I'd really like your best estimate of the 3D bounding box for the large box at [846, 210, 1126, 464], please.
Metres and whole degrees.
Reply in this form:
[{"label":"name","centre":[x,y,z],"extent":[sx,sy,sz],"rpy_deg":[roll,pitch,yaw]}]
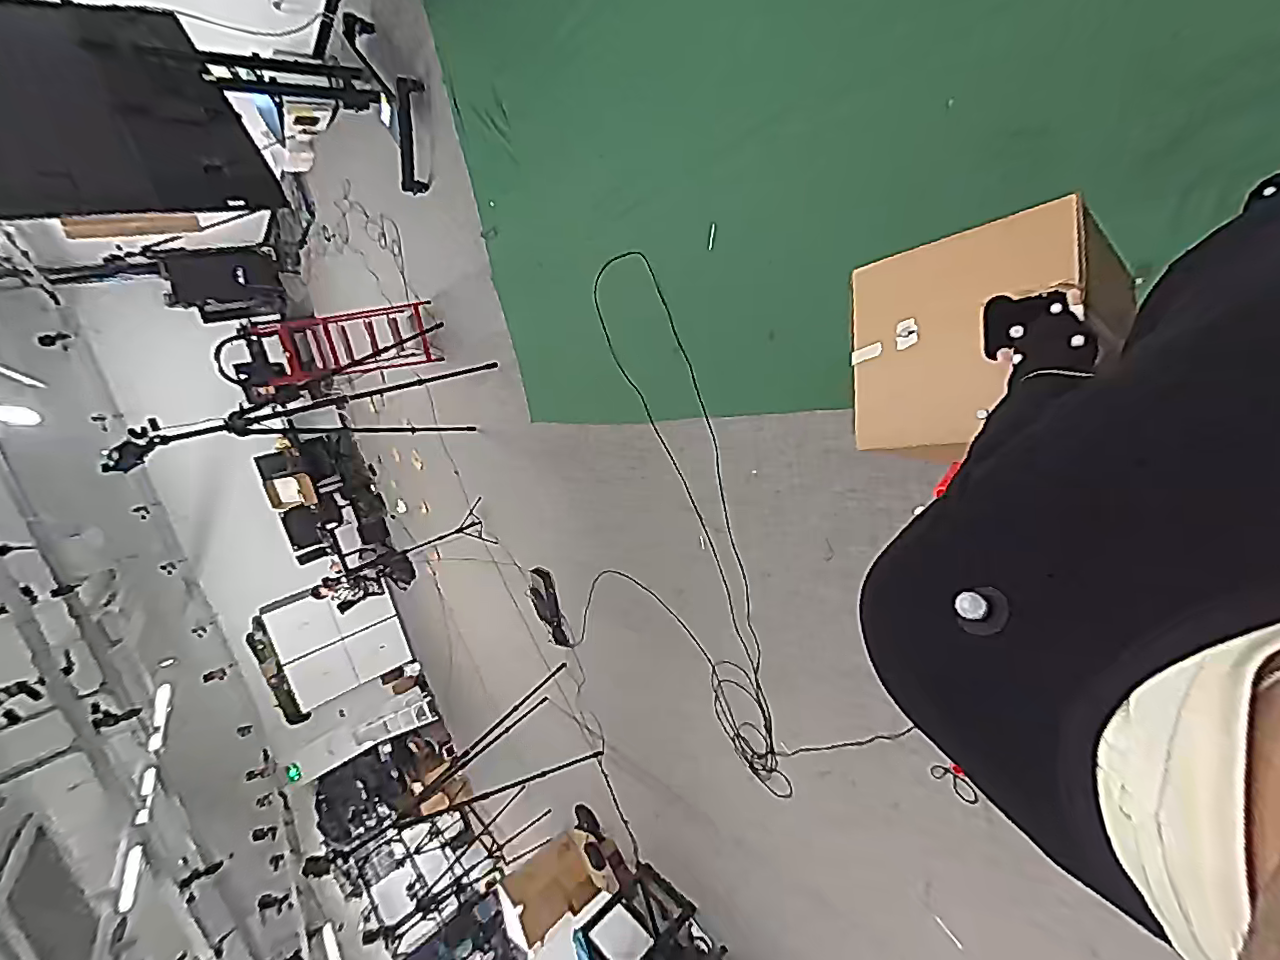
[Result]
[{"label":"large box","centre":[0.603,-0.196,0.943],"extent":[0.320,0.408,0.320],"rpy_deg":[-3,86,49]}]
